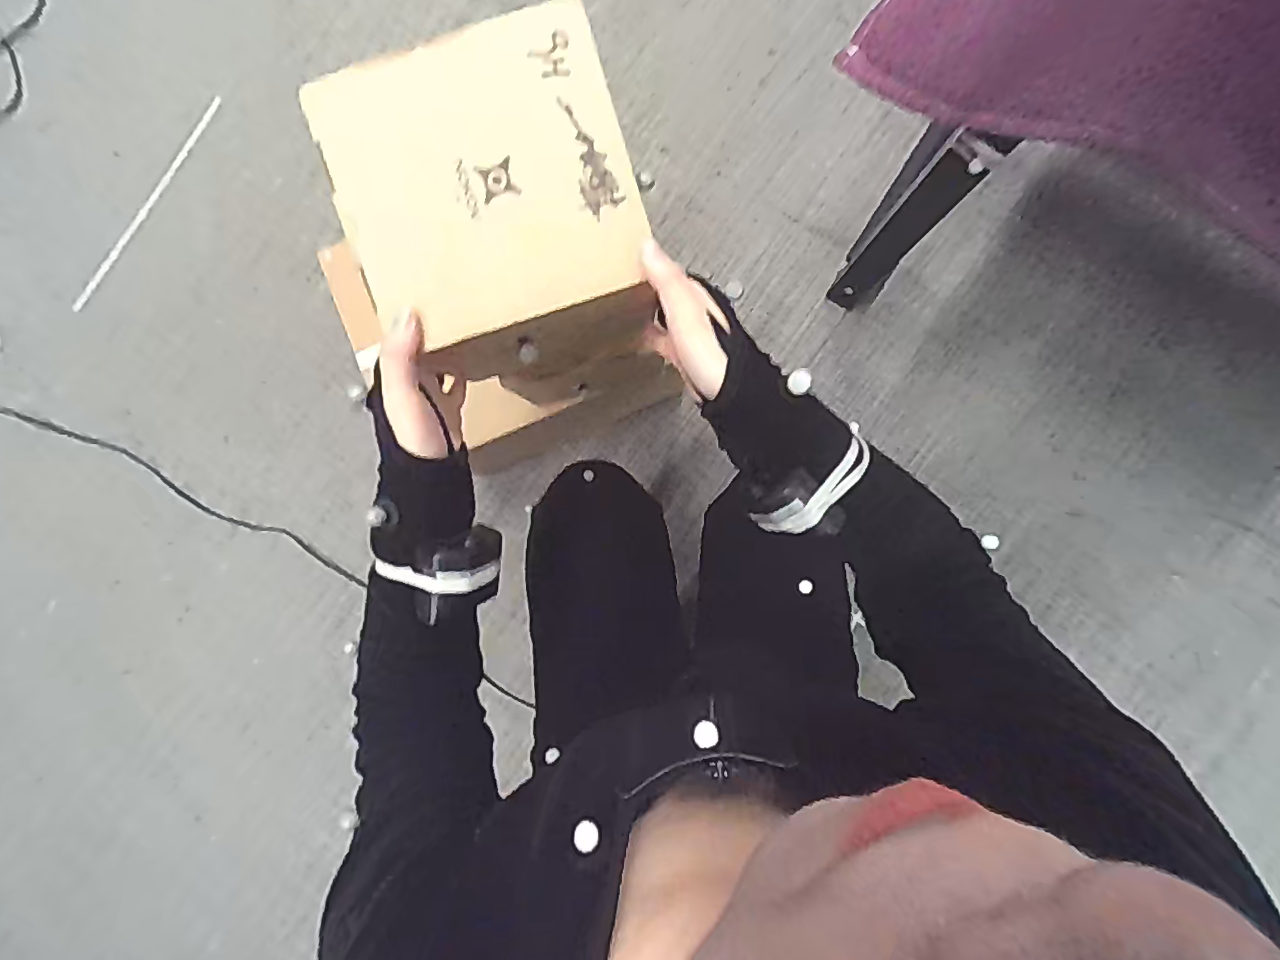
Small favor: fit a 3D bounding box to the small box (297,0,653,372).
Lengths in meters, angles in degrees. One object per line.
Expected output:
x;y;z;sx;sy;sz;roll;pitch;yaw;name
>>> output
-0.094;-0.184;0.396;0.179;0.176;0.168;-17;97;3;small box
